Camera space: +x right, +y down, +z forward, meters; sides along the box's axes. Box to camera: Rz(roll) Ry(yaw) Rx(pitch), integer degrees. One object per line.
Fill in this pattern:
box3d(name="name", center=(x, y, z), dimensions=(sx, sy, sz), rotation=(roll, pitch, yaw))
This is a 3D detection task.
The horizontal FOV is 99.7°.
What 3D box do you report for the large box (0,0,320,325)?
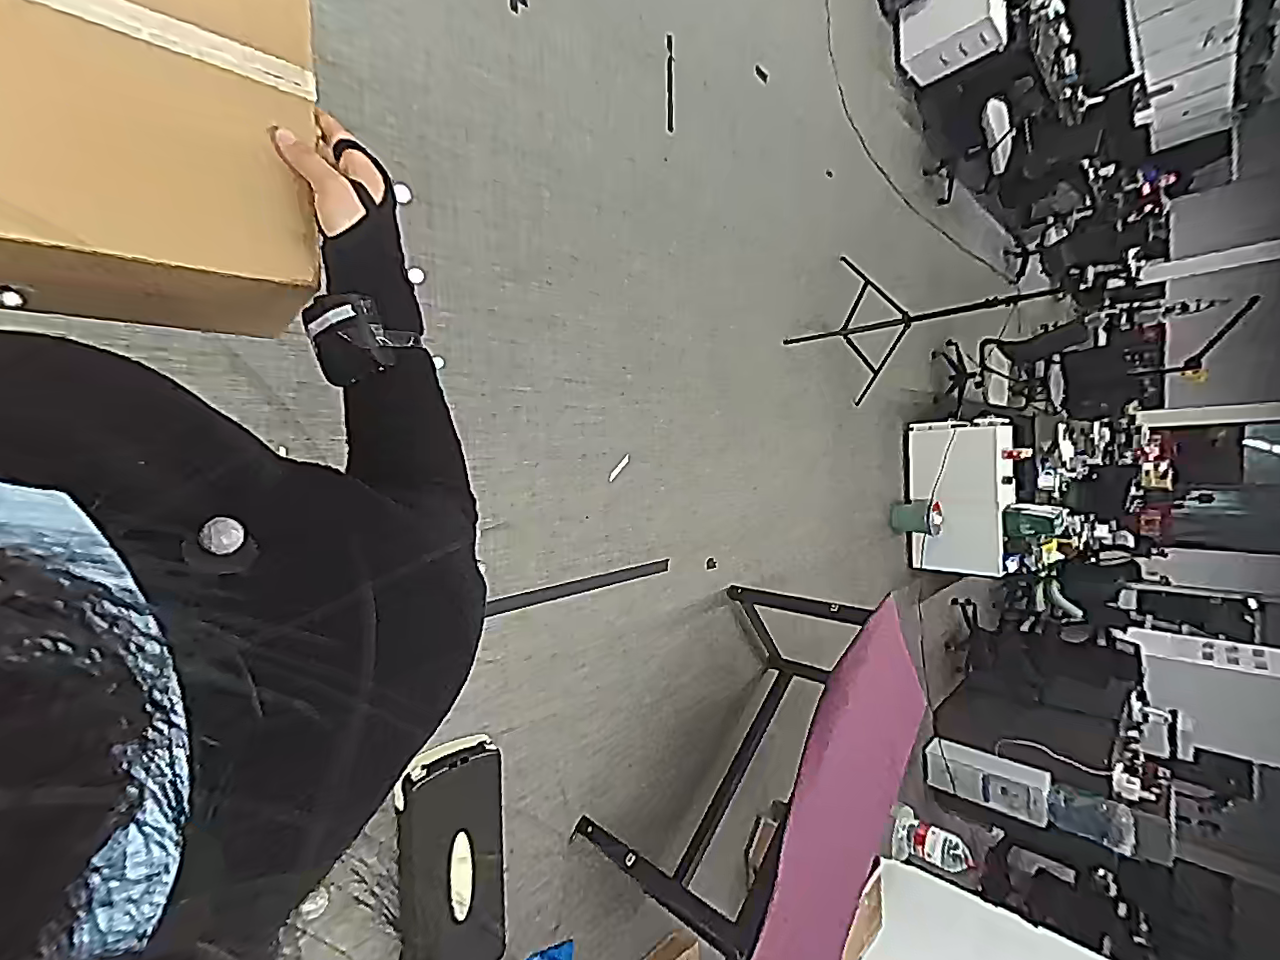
box3d(name="large box", center=(-0.520, -0.322, 0.440), dimensions=(0.408, 0.320, 0.320), rotation=(-3, 95, -39))
